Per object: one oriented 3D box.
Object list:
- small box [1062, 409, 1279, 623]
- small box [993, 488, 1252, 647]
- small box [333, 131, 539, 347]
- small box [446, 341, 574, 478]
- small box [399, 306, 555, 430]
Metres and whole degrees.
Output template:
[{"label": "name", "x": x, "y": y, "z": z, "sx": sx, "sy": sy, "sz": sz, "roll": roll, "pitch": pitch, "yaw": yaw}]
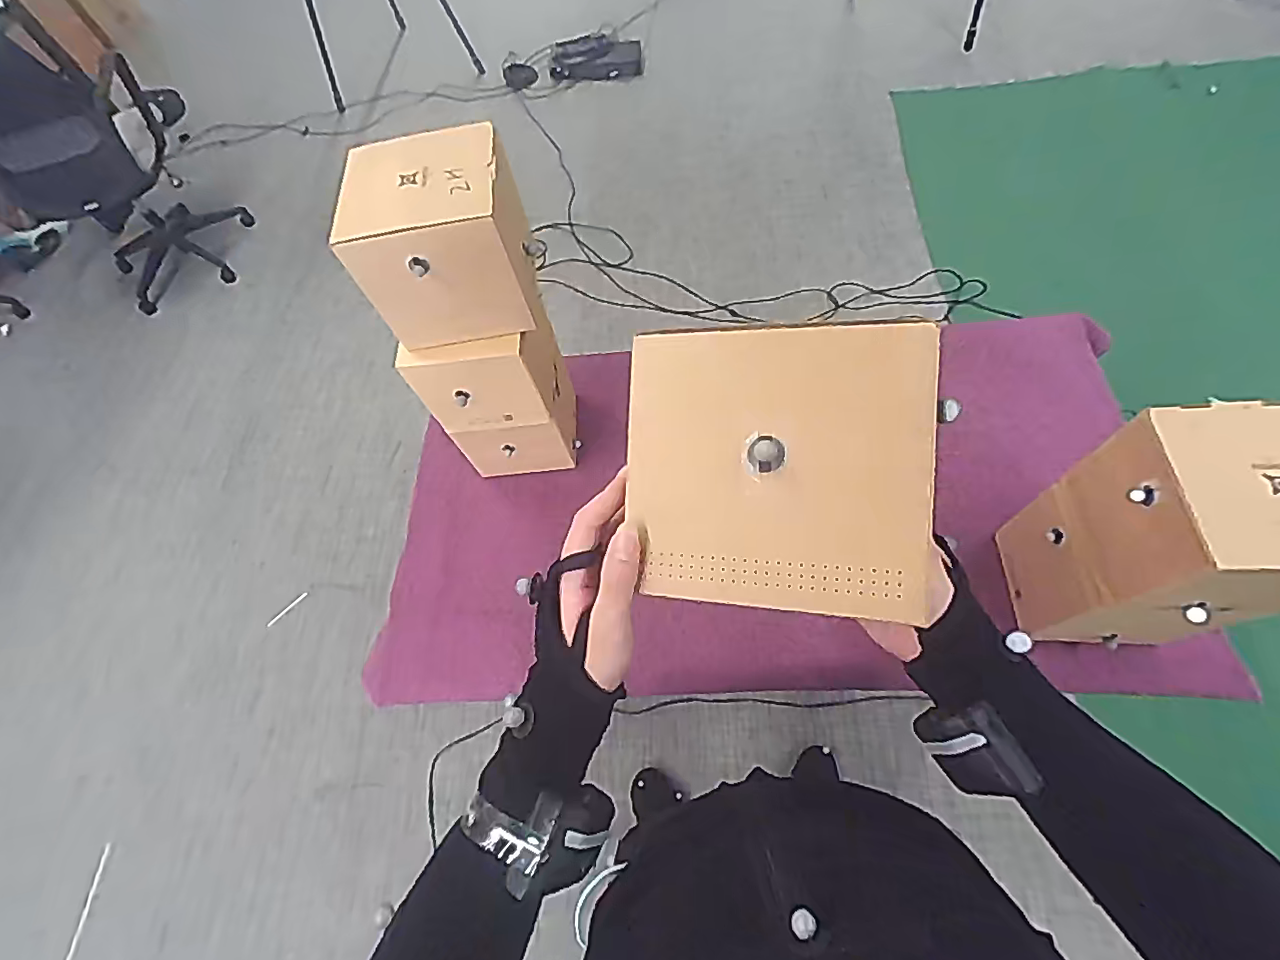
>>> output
[{"label": "small box", "x": 0.599, "y": 0.043, "z": 0.578, "sx": 0.168, "sy": 0.176, "sz": 0.179, "roll": 0, "pitch": 63, "yaw": 9}, {"label": "small box", "x": 0.615, "y": 0.122, "z": 0.720, "sx": 0.179, "sy": 0.176, "sz": 0.168, "roll": 1, "pitch": 62, "yaw": 7}, {"label": "small box", "x": -0.231, "y": -0.283, "z": 0.662, "sx": 0.179, "sy": 0.176, "sz": 0.168, "roll": -8, "pitch": 63, "yaw": 2}, {"label": "small box", "x": -0.213, "y": -0.117, "z": 0.942, "sx": 0.179, "sy": 0.176, "sz": 0.168, "roll": -6, "pitch": 63, "yaw": 4}, {"label": "small box", "x": -0.225, "y": -0.185, "z": 0.796, "sx": 0.168, "sy": 0.176, "sz": 0.179, "roll": -5, "pitch": 62, "yaw": 4}]
